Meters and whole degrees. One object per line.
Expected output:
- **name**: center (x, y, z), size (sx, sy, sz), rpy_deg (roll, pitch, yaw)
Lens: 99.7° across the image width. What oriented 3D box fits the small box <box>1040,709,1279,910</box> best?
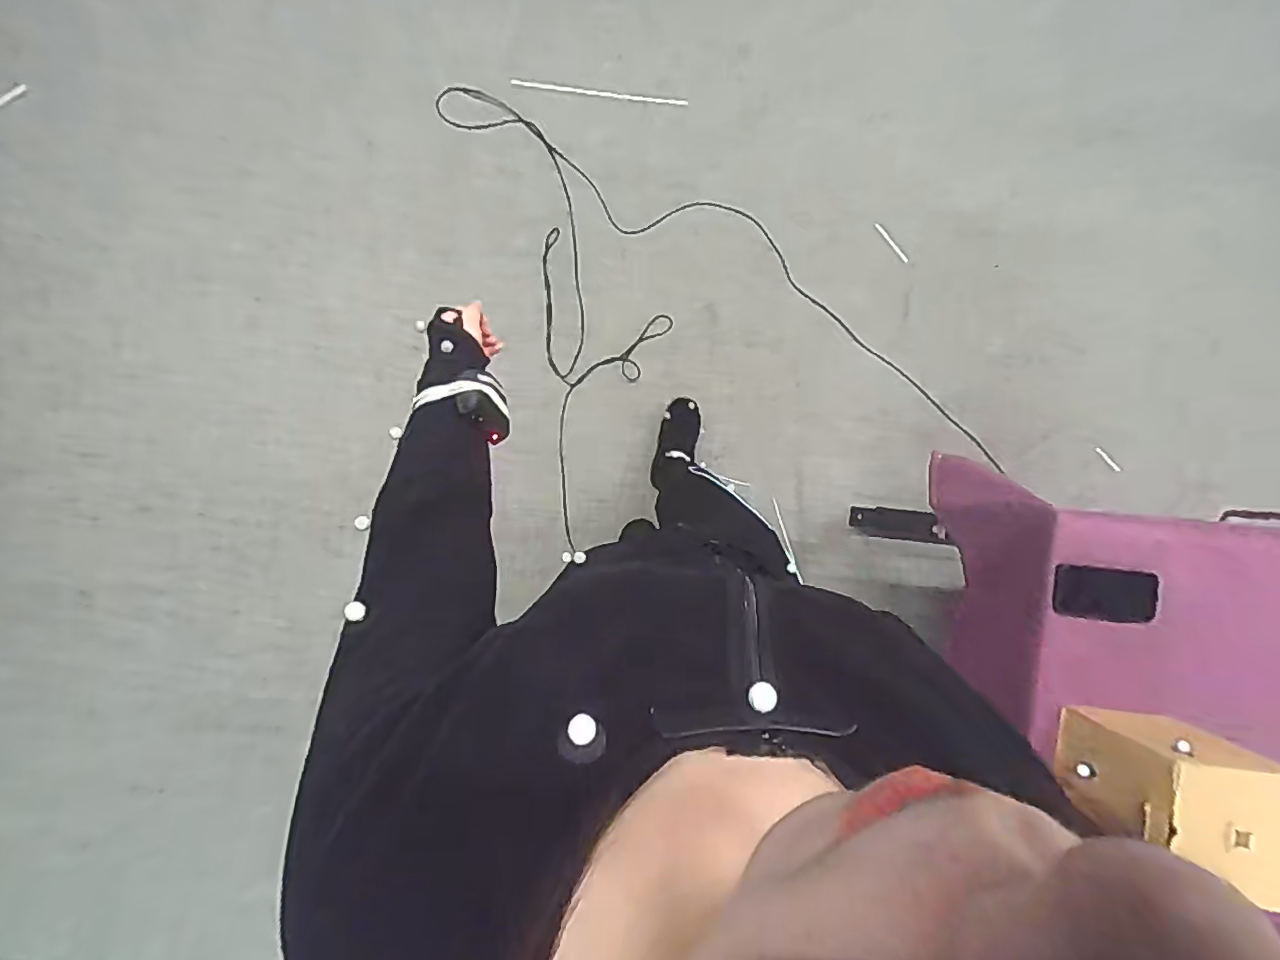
- **small box**: center (0.697, 0.429, 0.729), size (0.179, 0.176, 0.168), rpy_deg (7, 90, -3)
